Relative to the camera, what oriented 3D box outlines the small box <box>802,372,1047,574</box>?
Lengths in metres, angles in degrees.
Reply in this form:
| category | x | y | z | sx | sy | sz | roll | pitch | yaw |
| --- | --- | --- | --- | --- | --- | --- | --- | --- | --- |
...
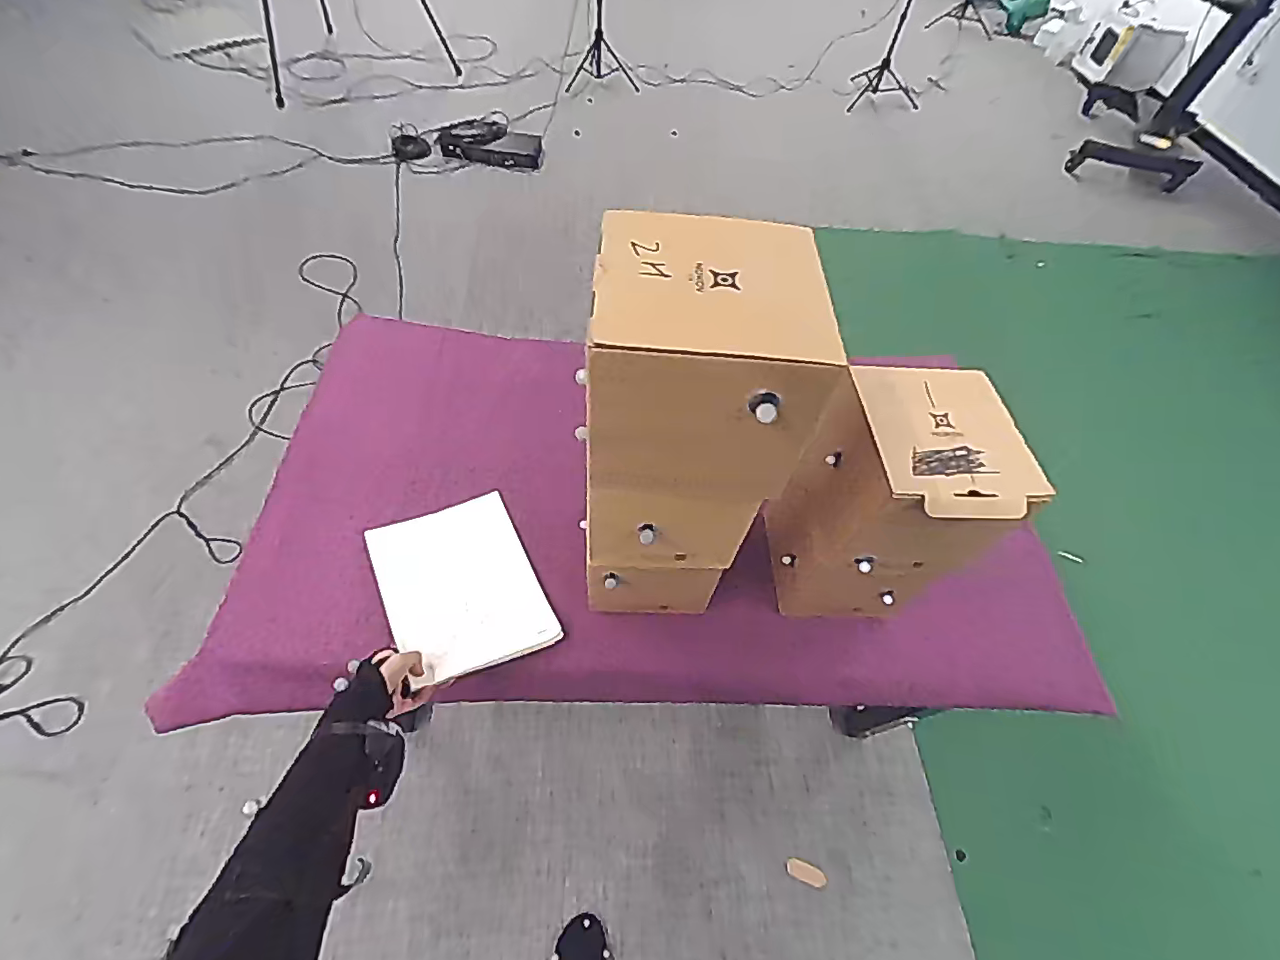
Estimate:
| category | x | y | z | sx | sy | sz | roll | pitch | yaw |
| --- | --- | --- | --- | --- | --- | --- | --- | --- | --- |
| small box | 0.306 | -0.002 | 0.629 | 0.168 | 0.176 | 0.179 | 2 | 54 | -5 |

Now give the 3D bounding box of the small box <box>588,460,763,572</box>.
| category | x | y | z | sx | sy | sz | roll | pitch | yaw |
| --- | --- | --- | --- | --- | --- | --- | --- | --- | --- |
| small box | 0.030 | -0.008 | 0.608 | 0.168 | 0.176 | 0.179 | 2 | 55 | -3 |

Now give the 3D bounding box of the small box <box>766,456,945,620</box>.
| category | x | y | z | sx | sy | sz | roll | pitch | yaw |
| --- | --- | --- | --- | --- | --- | --- | --- | --- | --- |
| small box | 0.288 | 0.088 | 0.765 | 0.168 | 0.176 | 0.179 | 3 | 55 | -4 |

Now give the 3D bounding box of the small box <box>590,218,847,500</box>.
| category | x | y | z | sx | sy | sz | roll | pitch | yaw |
| --- | --- | --- | --- | --- | --- | --- | --- | --- | --- |
| small box | 0.051 | -0.096 | 0.470 | 0.179 | 0.176 | 0.168 | 4 | 54 | -2 |
